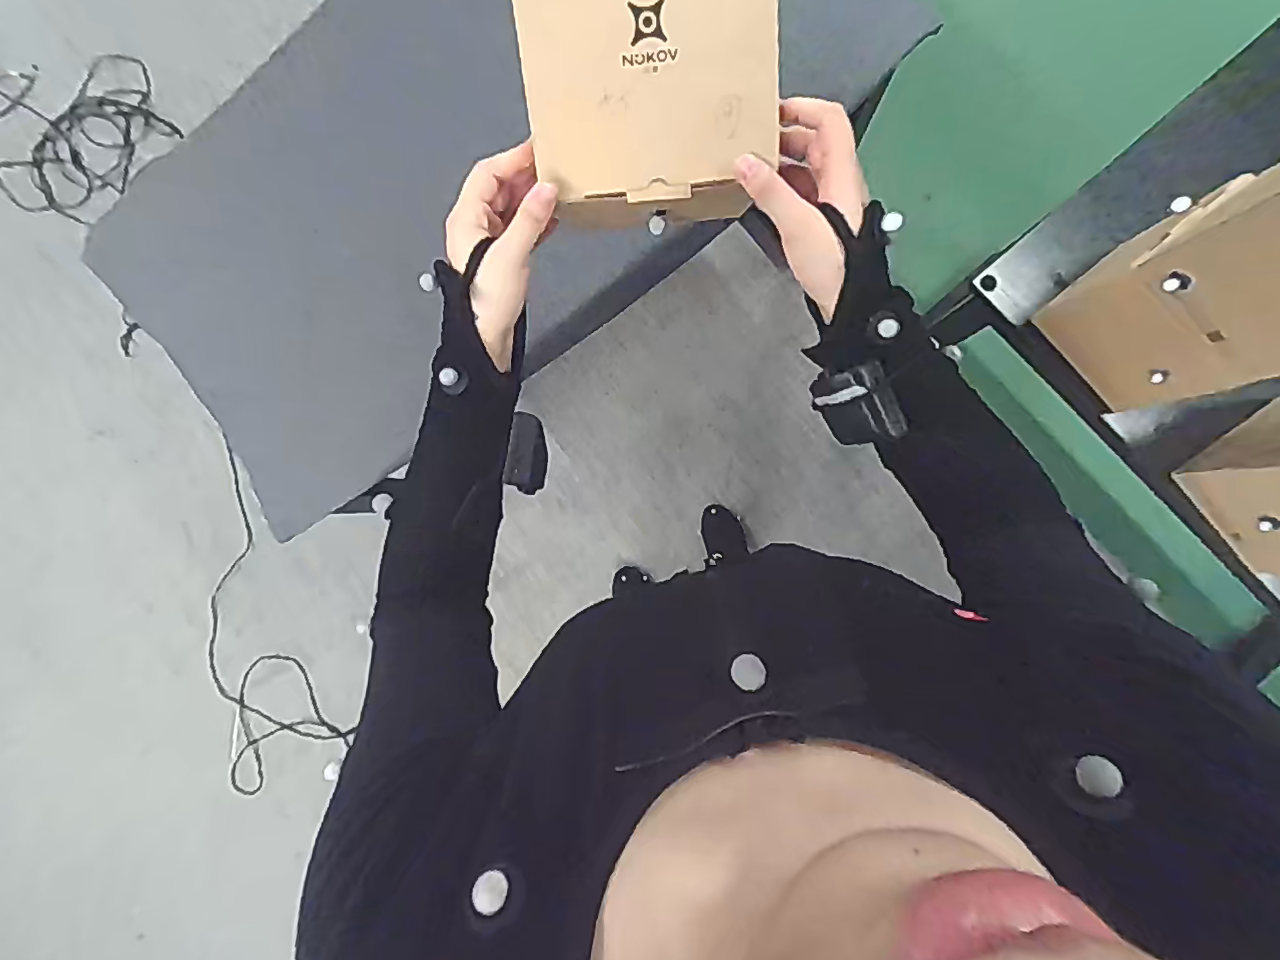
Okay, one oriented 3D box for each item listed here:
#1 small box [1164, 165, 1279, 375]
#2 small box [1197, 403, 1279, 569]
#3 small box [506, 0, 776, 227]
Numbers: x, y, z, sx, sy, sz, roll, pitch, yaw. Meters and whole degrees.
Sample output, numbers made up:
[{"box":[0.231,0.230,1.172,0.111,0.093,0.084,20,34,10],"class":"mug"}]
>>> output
[{"box":[0.645,-0.219,0.489,0.179,0.176,0.168,-37,86,2],"class":"small box"},{"box":[0.824,0.002,0.628,0.179,0.176,0.168,-37,85,2],"class":"small box"},{"box":[0.006,-0.295,0.408,0.168,0.176,0.179,-5,111,5],"class":"small box"}]
